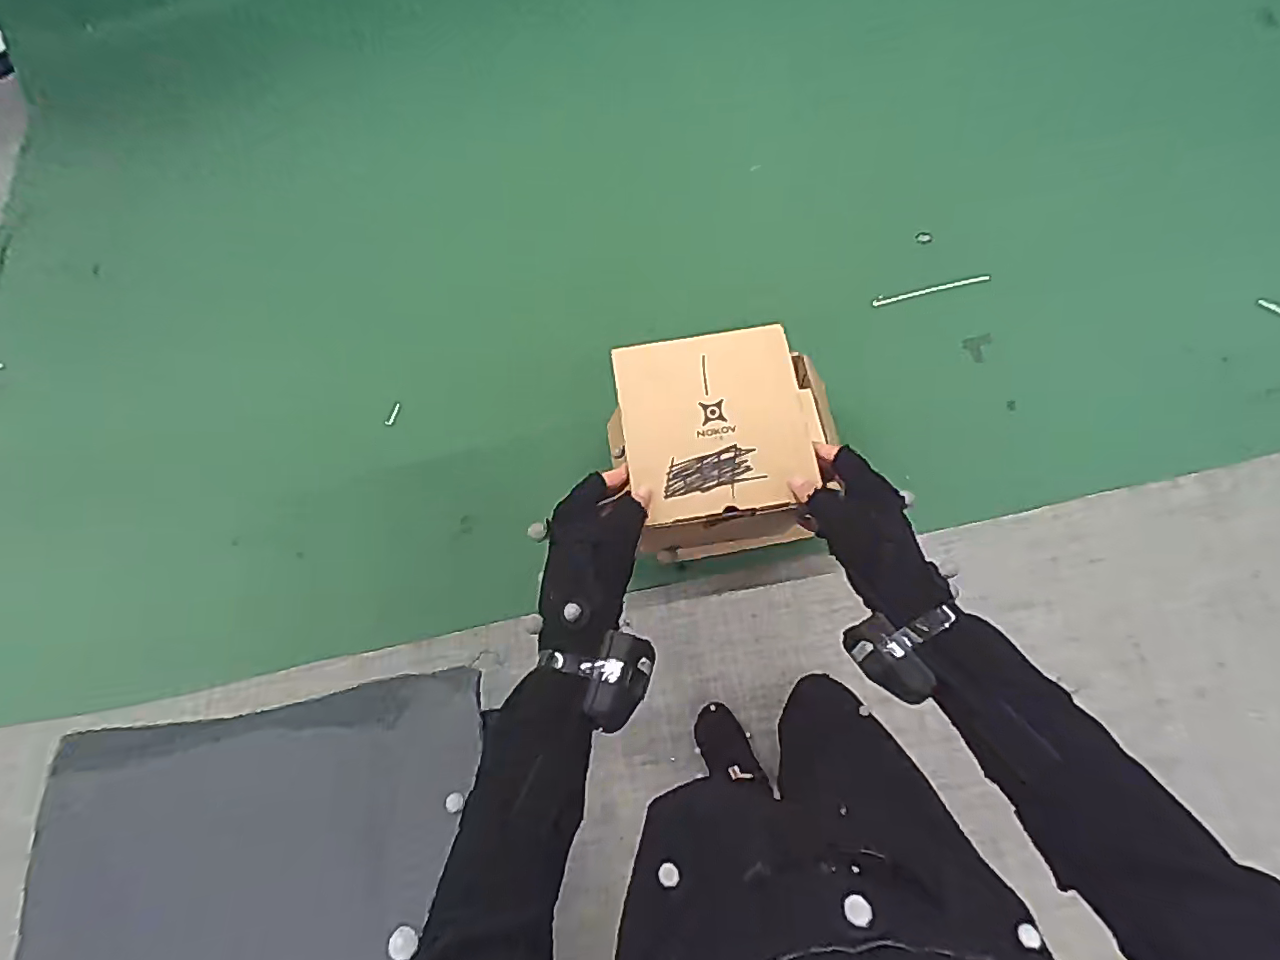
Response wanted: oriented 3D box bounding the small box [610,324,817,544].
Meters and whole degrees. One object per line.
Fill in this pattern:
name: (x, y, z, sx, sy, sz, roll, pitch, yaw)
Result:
small box: (0.068, -0.033, 0.566, 0.168, 0.176, 0.179, -9, 74, 0)
